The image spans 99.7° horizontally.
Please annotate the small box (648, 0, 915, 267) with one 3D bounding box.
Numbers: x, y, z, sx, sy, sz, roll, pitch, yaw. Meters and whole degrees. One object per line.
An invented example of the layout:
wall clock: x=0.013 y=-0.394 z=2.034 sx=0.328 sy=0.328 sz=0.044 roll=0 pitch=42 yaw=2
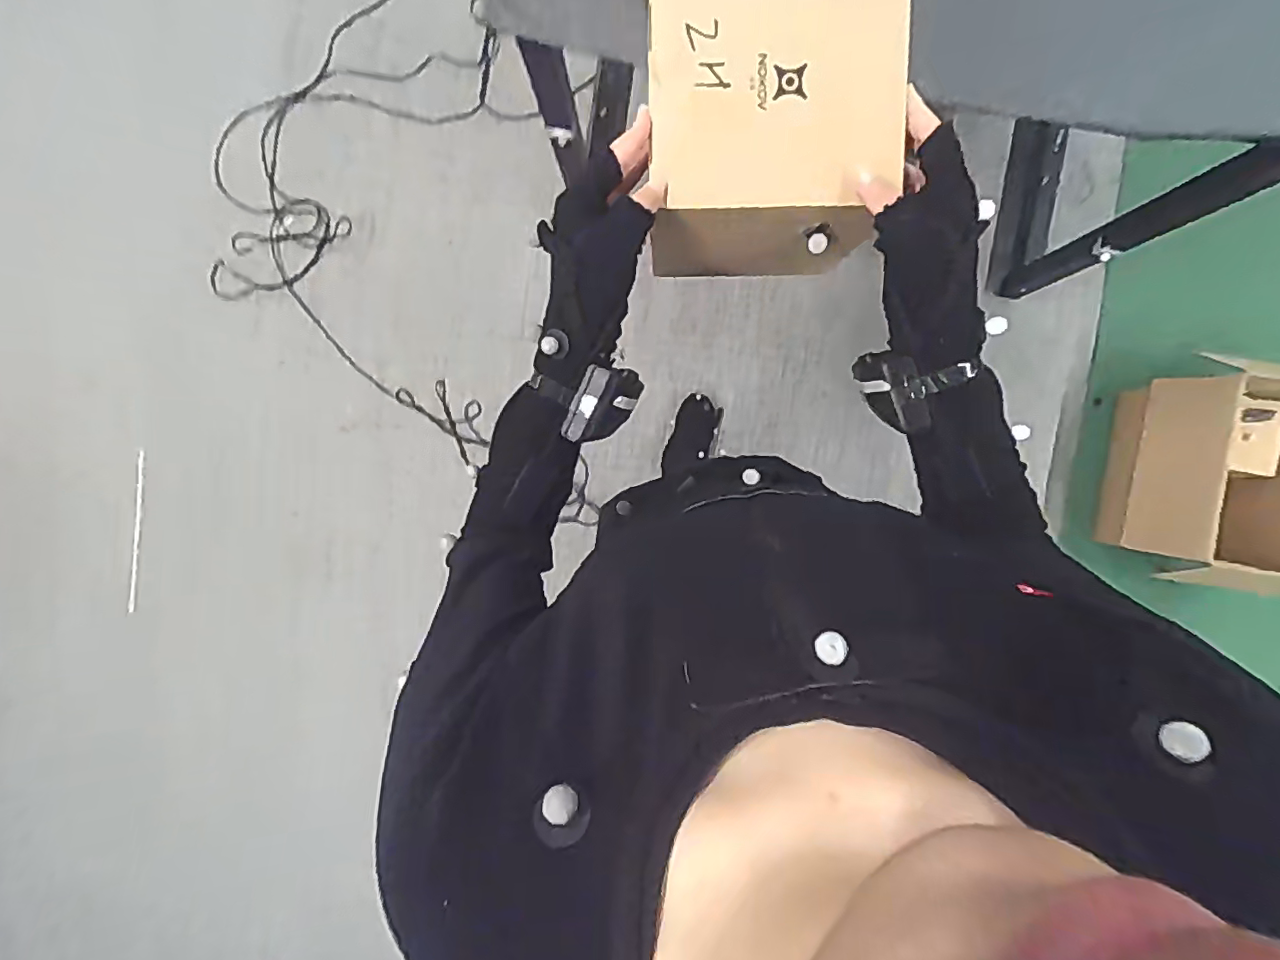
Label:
small box: x=0.097 y=-0.282 z=0.439 sx=0.179 sy=0.176 sz=0.168 roll=1 pitch=95 yaw=3
